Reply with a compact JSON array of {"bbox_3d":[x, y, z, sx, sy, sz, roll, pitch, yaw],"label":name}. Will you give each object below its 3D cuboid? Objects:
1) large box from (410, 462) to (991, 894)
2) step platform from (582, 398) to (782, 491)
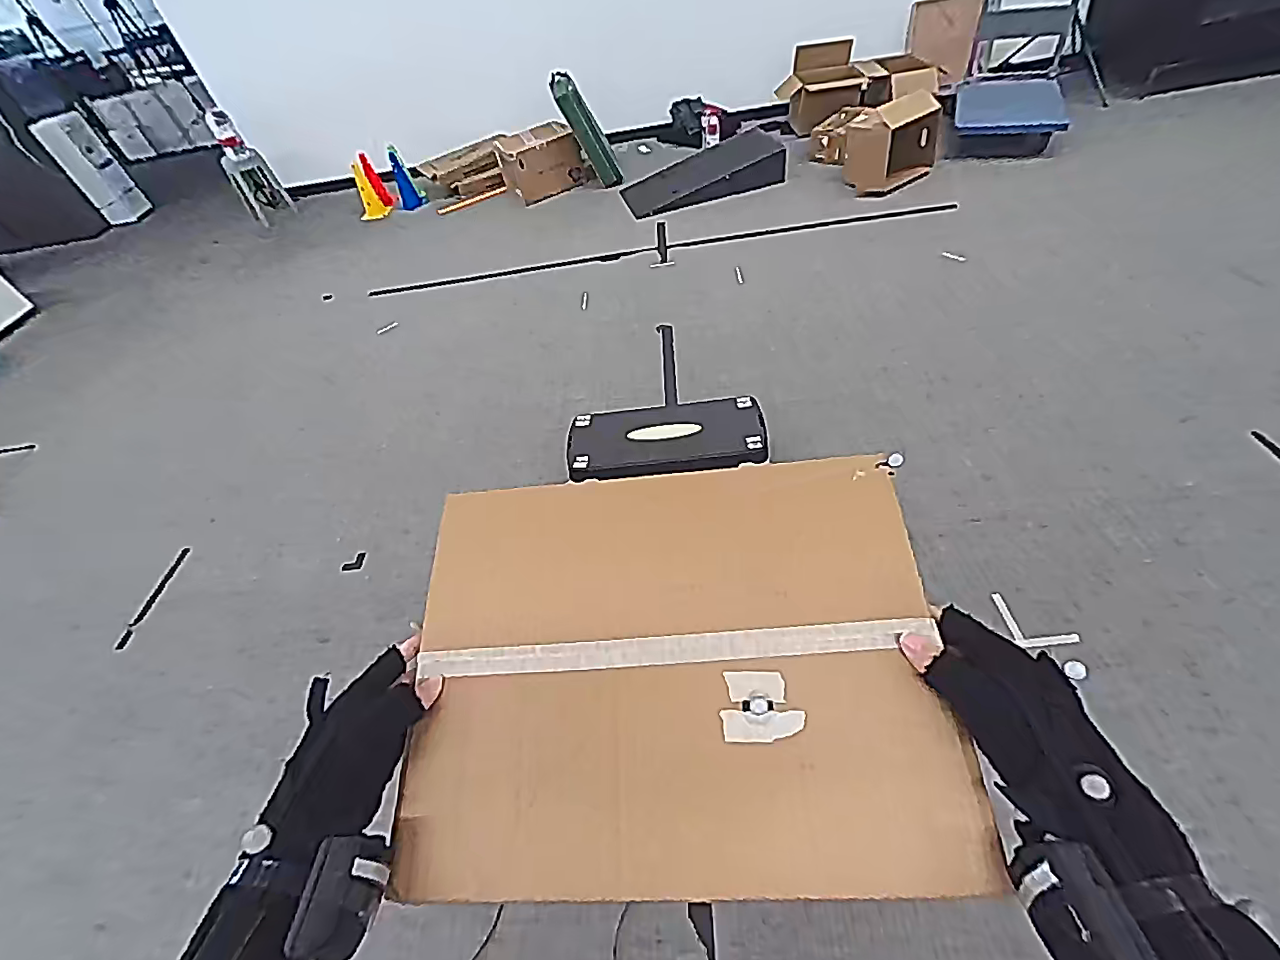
[{"bbox_3d":[0.044,0.209,0.564,0.408,0.320,0.320,-6,61,6],"label":"large box"},{"bbox_3d":[0.141,-0.097,1.883,0.684,0.204,0.286,-6,48,5],"label":"step platform"}]
